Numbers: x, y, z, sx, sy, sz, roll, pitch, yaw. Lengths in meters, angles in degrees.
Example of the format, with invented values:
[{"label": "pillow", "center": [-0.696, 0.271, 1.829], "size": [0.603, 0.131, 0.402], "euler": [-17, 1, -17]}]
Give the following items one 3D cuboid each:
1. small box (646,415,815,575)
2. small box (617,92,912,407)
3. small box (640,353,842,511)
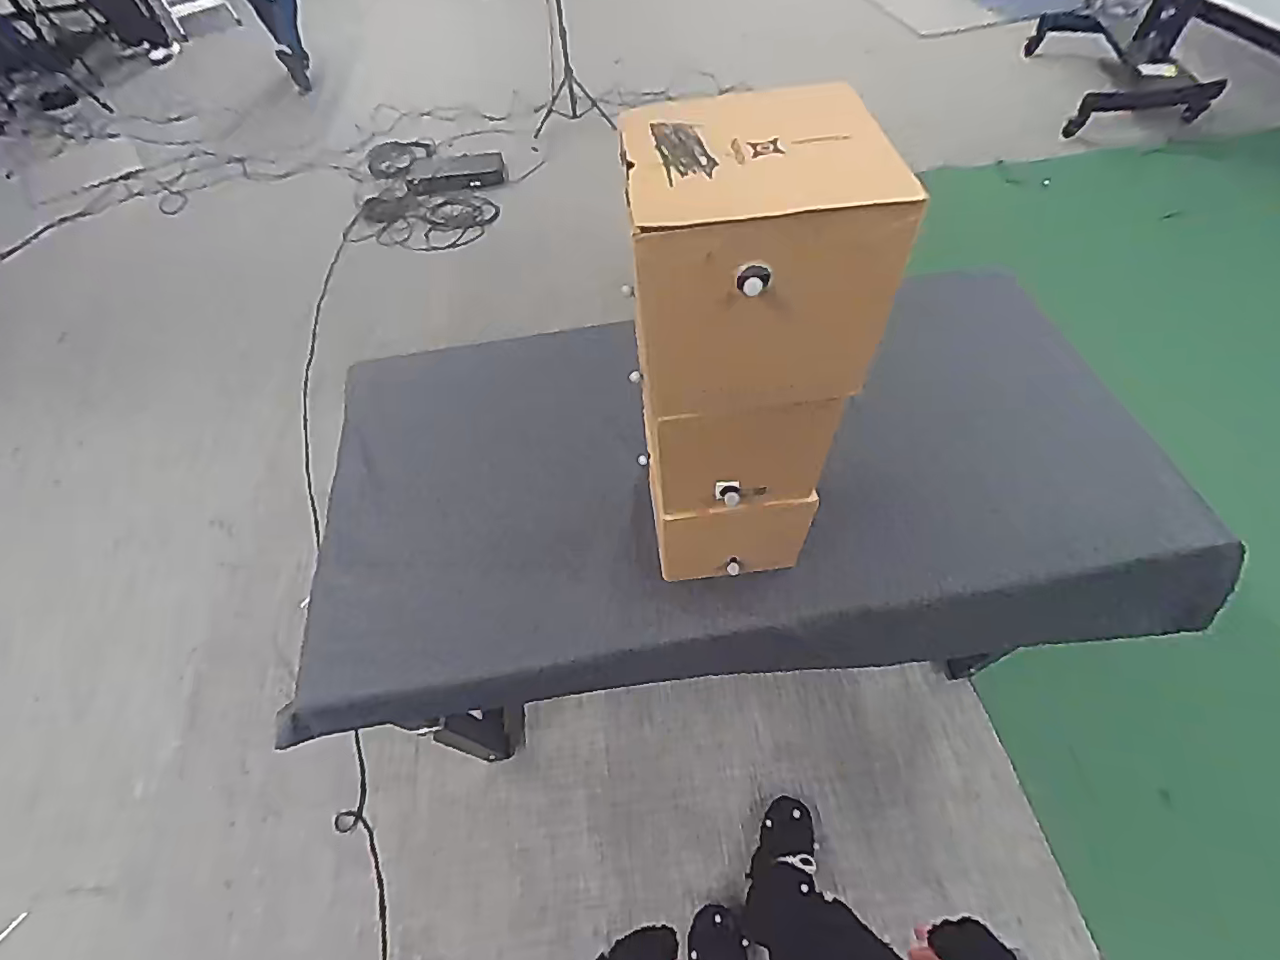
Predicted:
[{"label": "small box", "center": [0.104, 0.009, 0.704], "size": [0.179, 0.176, 0.168], "euler": [-7, 56, -1]}, {"label": "small box", "center": [0.080, -0.175, 0.435], "size": [0.179, 0.176, 0.168], "euler": [-6, 56, 1]}, {"label": "small box", "center": [0.090, -0.089, 0.575], "size": [0.168, 0.176, 0.179], "euler": [-9, 57, 0]}]
